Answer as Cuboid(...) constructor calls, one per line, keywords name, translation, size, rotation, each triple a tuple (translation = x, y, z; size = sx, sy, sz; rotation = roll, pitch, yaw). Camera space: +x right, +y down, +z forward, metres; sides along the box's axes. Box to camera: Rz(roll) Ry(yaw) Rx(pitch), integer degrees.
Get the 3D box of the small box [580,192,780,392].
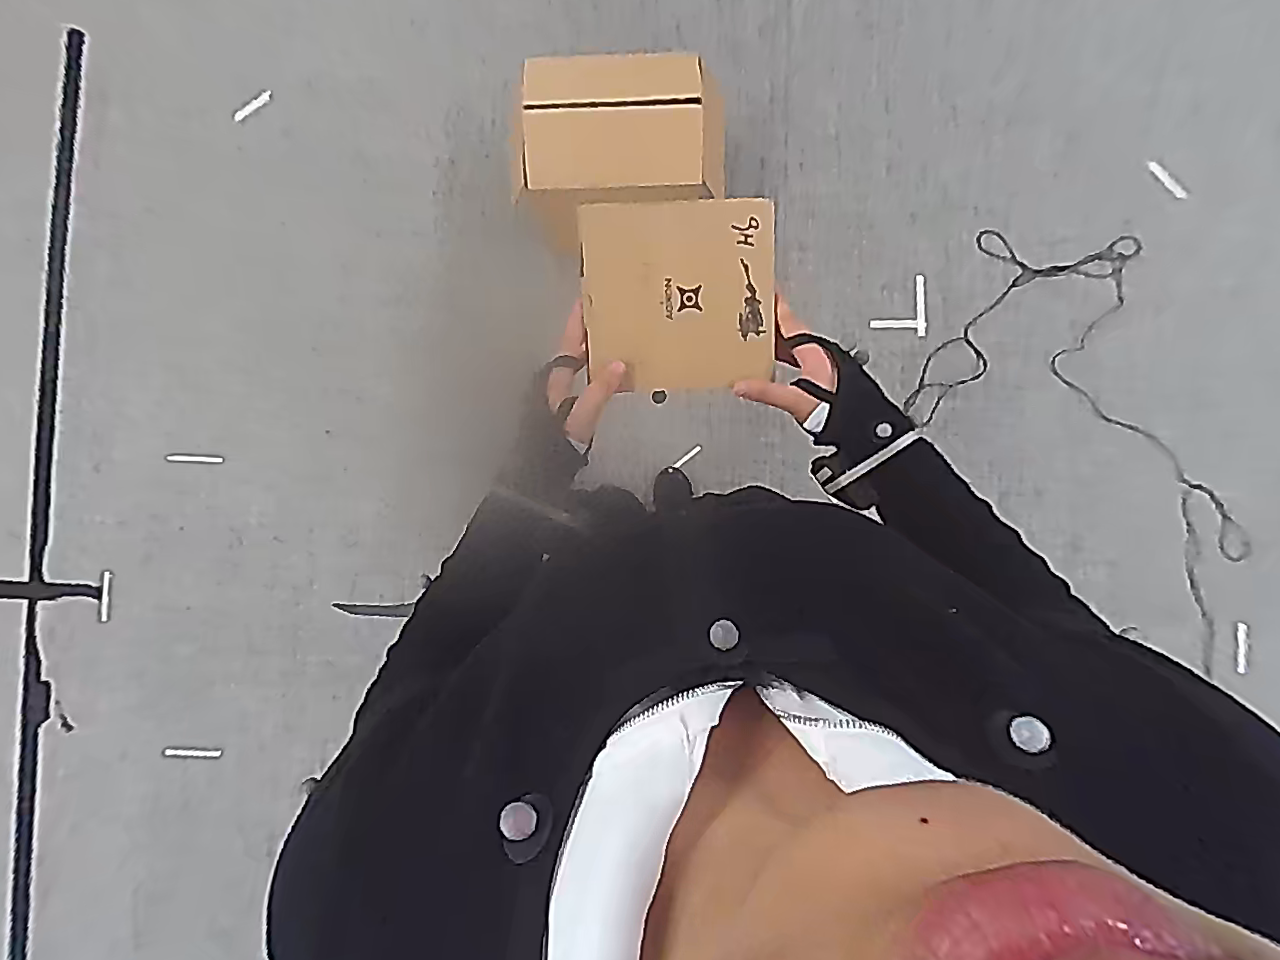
Cuboid(name="small box", translation=(0.036, -0.178, 0.558), size=(0.179, 0.176, 0.168), rotation=(-3, 99, -2))
